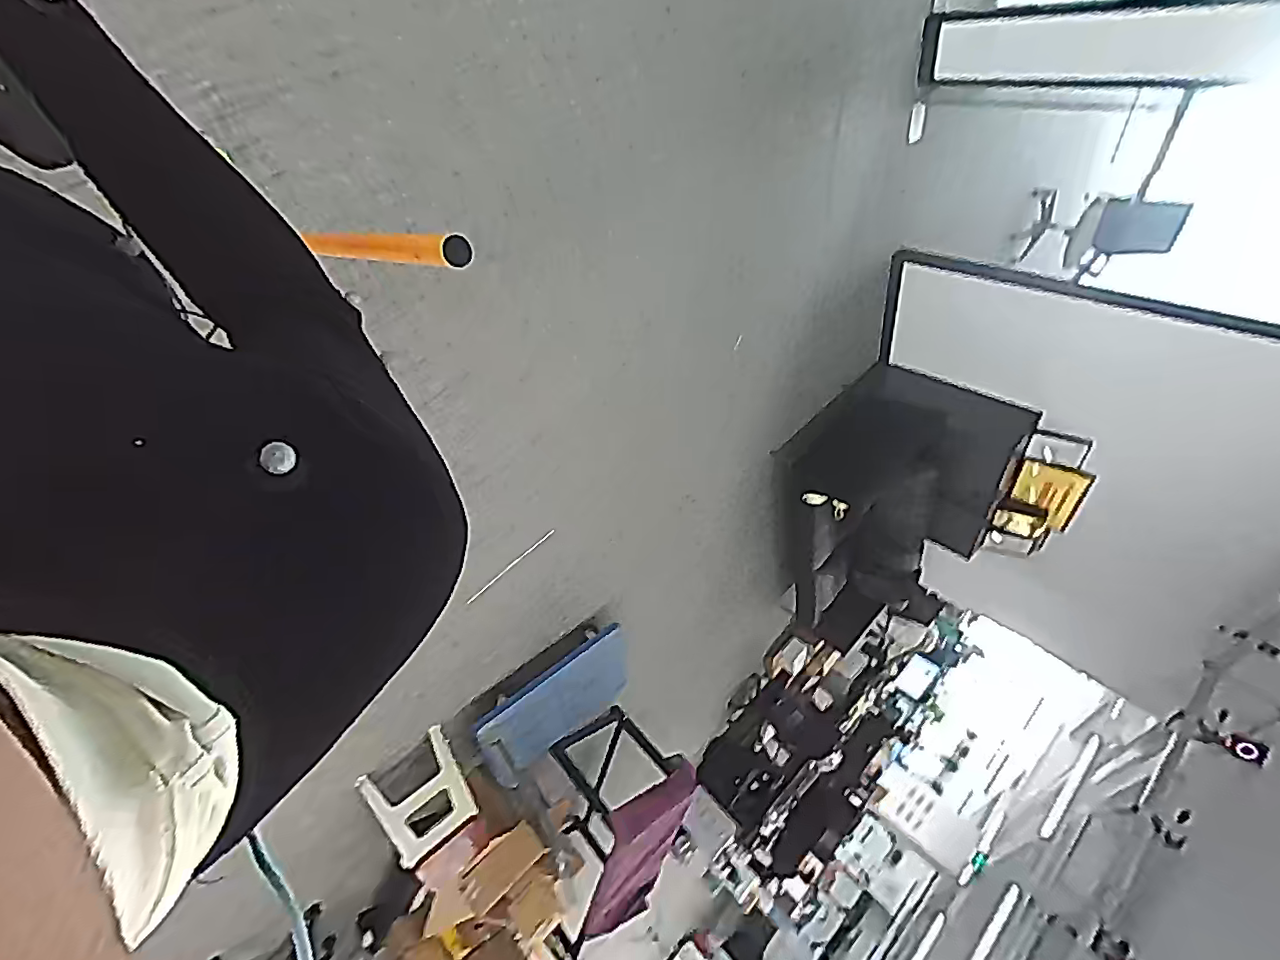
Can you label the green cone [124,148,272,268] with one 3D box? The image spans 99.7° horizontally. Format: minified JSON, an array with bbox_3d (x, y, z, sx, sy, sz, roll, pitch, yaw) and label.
[{"bbox_3d":[-0.850,-0.520,1.090,0.202,0.368,0.200,-38,140,-21],"label":"green cone"}]
